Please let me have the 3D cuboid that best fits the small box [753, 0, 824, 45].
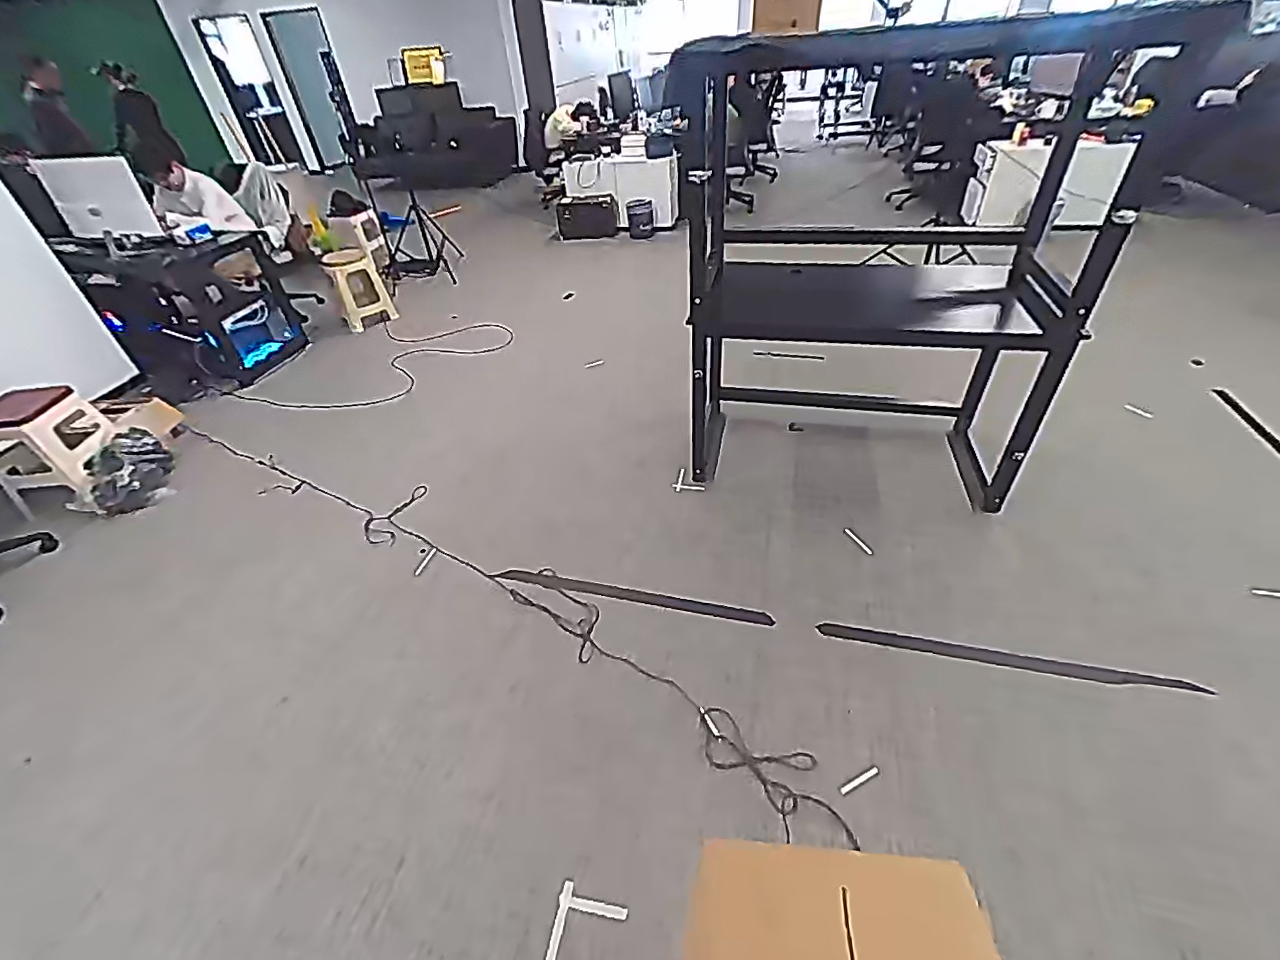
[{"bbox_3d":[0.379,-1.214,1.364,0.168,0.176,0.179,6,38,12],"label":"small box"}]
